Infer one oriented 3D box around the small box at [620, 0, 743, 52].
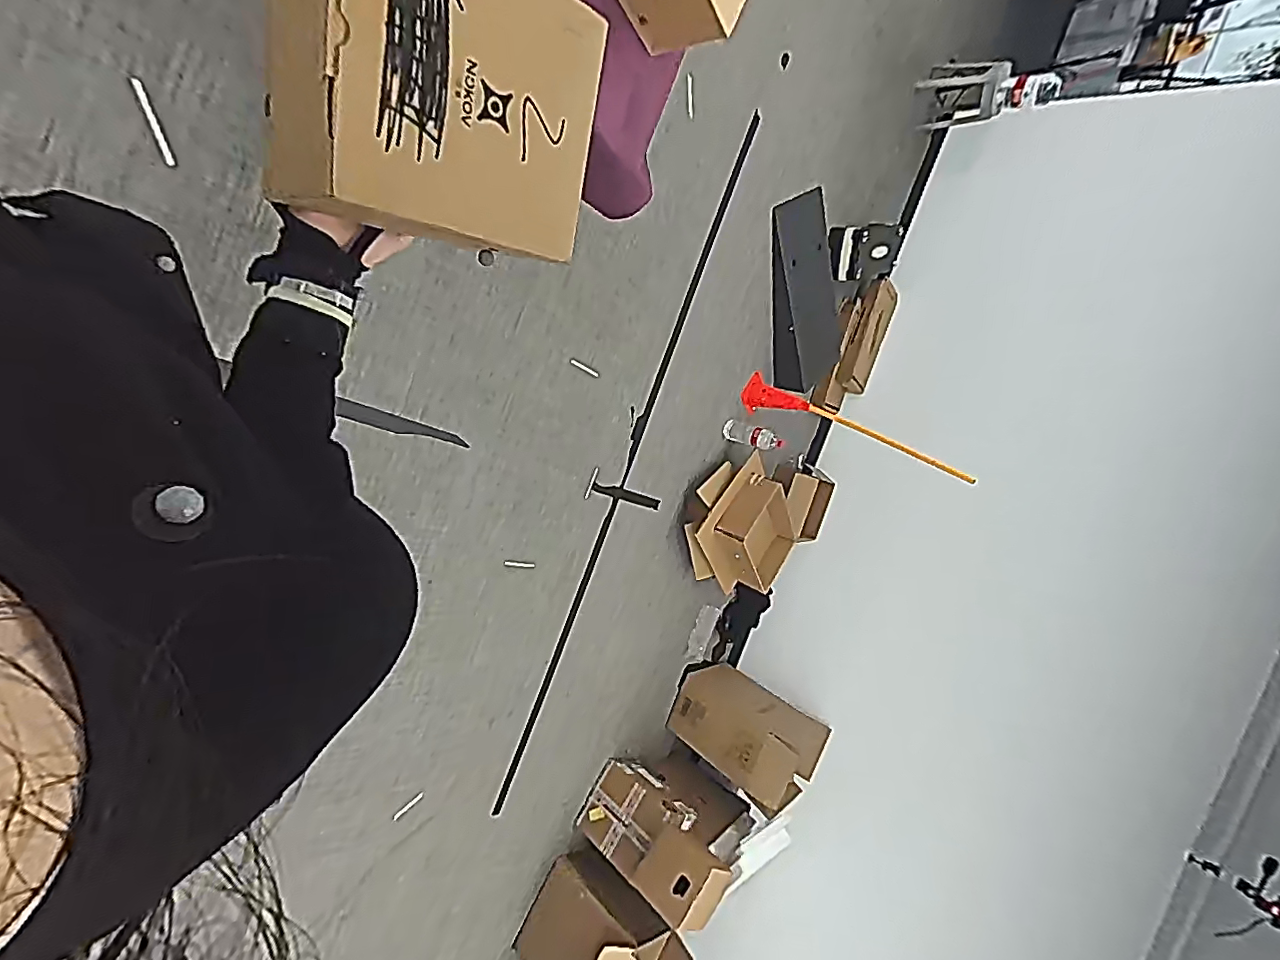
[{"bbox_3d":[0.064,-0.818,0.838,0.168,0.176,0.179,27,85,-52],"label":"small box"}]
